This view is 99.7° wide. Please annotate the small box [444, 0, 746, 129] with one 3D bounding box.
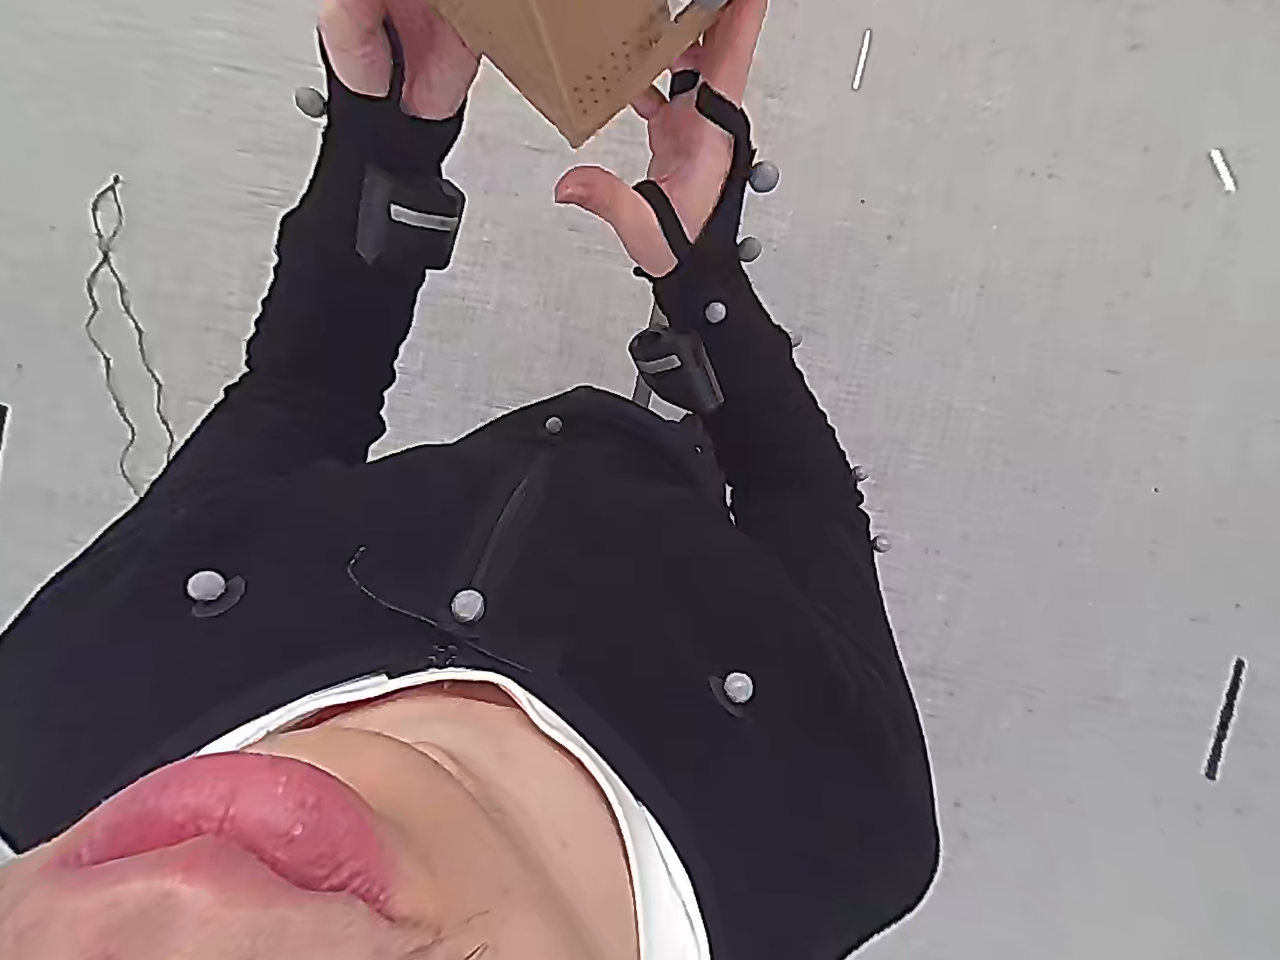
[{"bbox_3d":[-0.033,-0.274,0.180,0.168,0.176,0.179,-45,85,5],"label":"small box"}]
